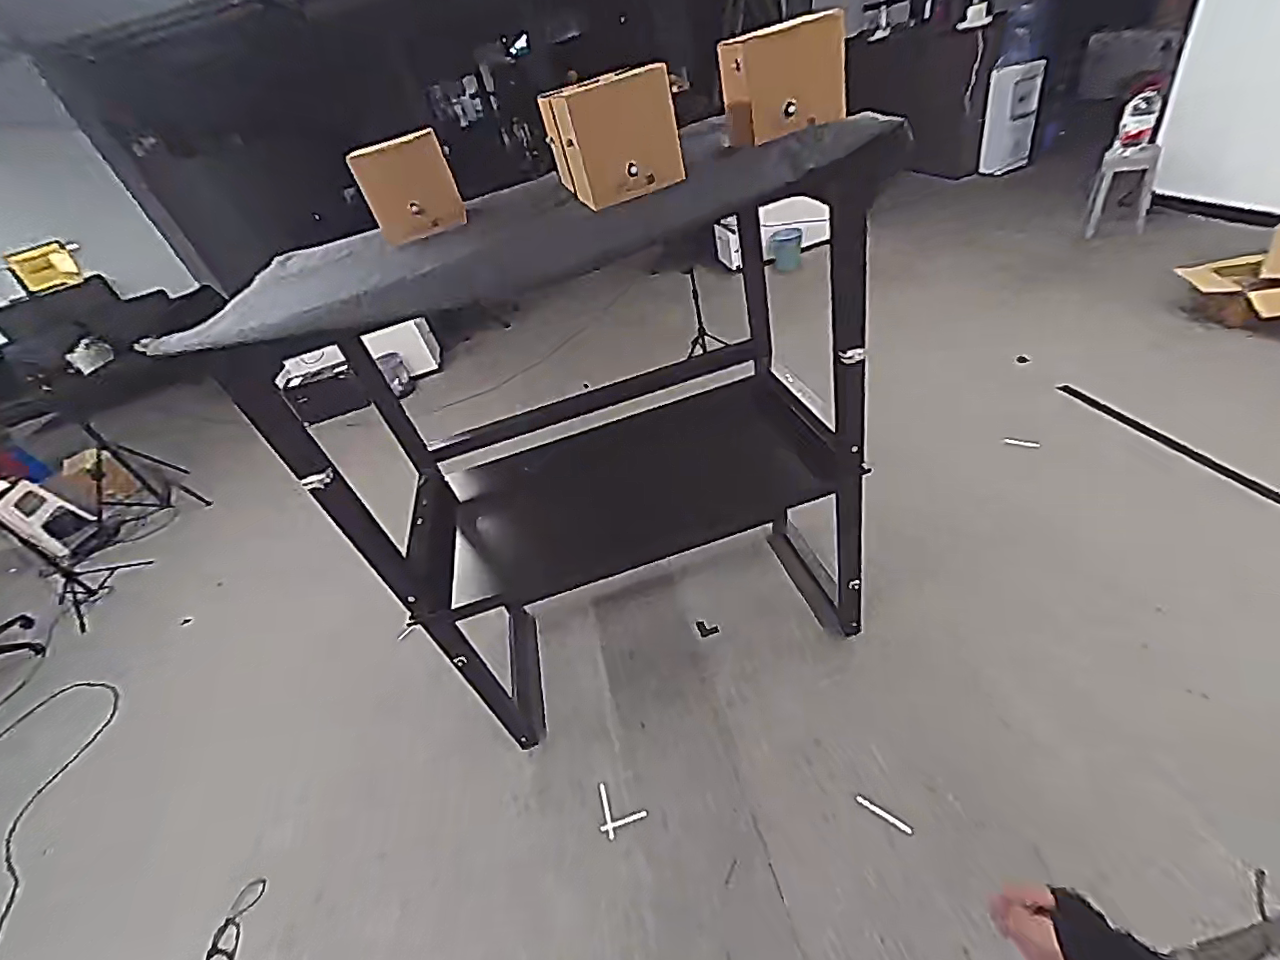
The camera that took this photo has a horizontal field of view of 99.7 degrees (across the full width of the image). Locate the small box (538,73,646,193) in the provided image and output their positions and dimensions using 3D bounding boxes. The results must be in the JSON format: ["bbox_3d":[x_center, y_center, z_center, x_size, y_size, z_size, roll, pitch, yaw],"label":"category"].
[{"bbox_3d":[-0.097,-0.708,1.112,0.168,0.176,0.179,-20,37,-4],"label":"small box"}]

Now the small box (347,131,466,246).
[{"bbox_3d":[-0.475,-0.607,1.129,0.168,0.176,0.179,-21,39,-4],"label":"small box"}]

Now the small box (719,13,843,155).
[{"bbox_3d":[0.250,-0.705,0.975,0.168,0.176,0.179,-16,38,2],"label":"small box"}]
